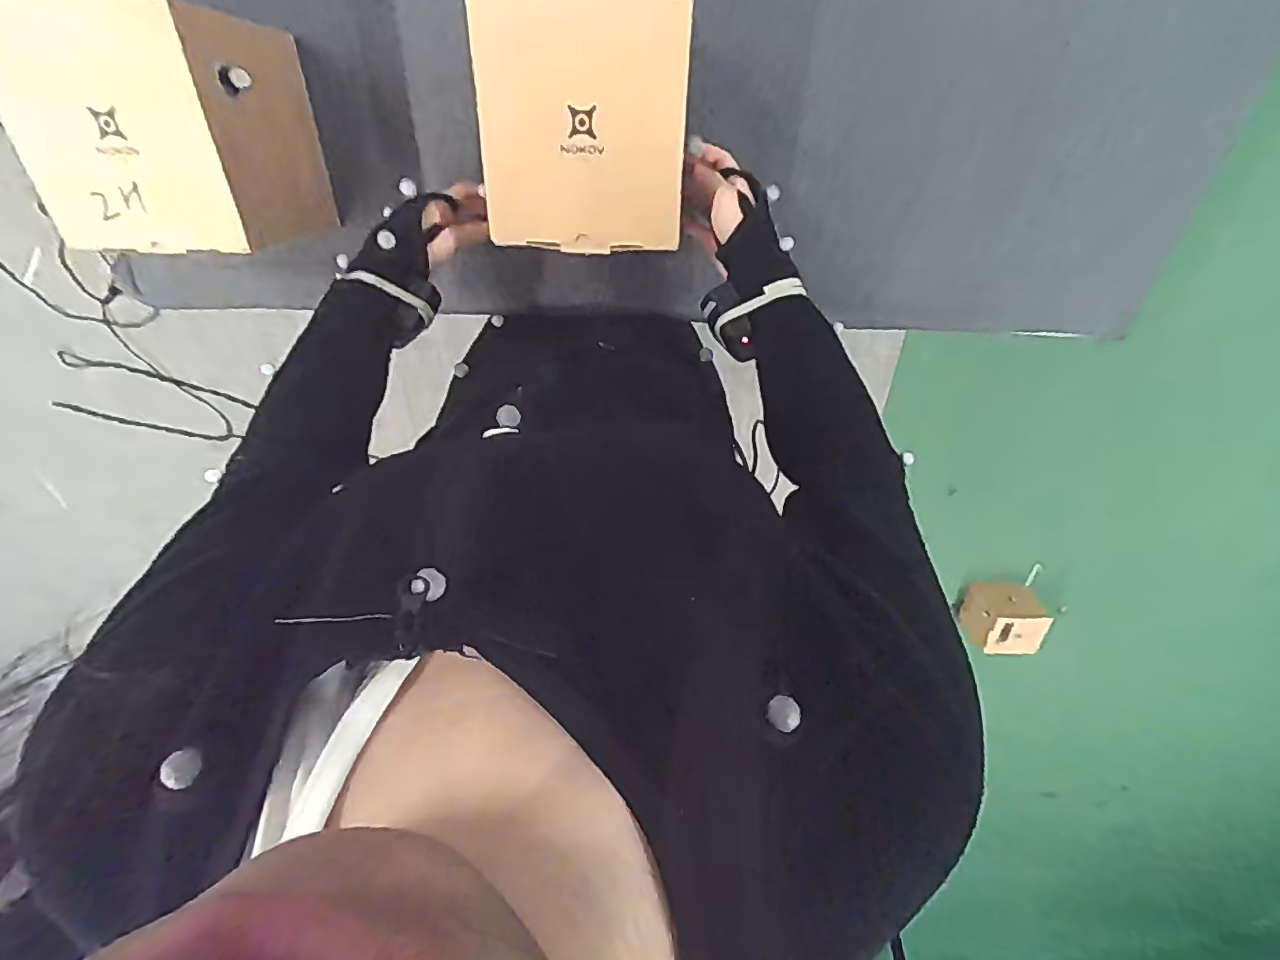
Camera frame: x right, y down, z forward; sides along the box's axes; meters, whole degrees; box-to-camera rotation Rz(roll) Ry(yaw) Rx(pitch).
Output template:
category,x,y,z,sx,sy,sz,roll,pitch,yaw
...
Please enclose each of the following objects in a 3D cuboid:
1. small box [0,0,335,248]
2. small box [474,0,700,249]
category,x,y,z,sx,sy,sz,roll,pitch,yaw
small box,-0.417,-0.320,0.494,0.168,0.176,0.179,1,122,0
small box,-0.042,-0.320,0.495,0.168,0.176,0.179,2,122,-1
